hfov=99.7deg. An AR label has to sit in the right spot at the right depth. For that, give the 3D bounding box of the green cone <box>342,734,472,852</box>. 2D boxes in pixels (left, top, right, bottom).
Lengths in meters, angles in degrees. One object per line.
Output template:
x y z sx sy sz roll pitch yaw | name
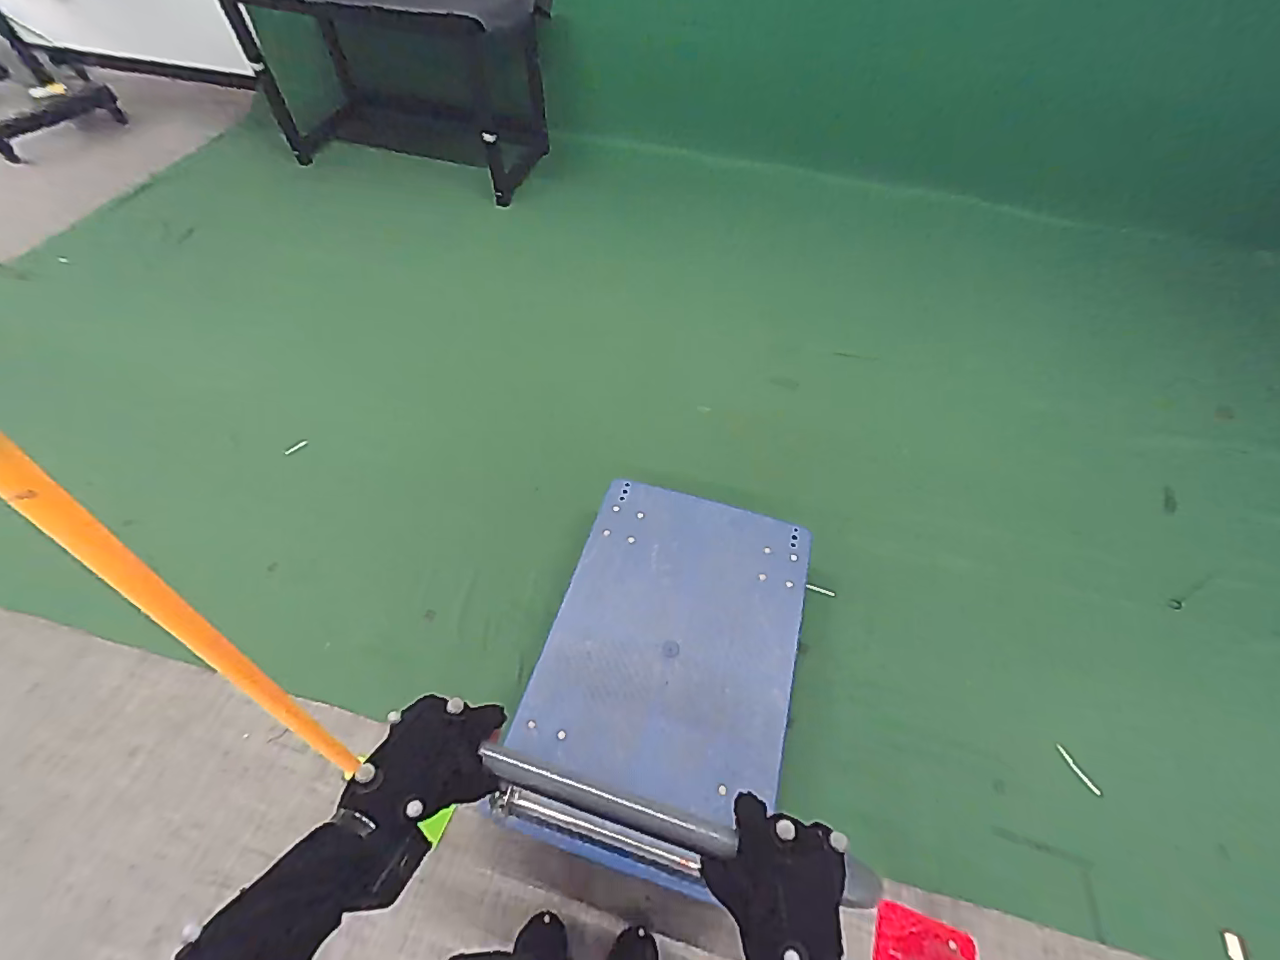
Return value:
-0.512 0.617 1.112 0.202 0.368 0.200 17 55 11 | green cone
